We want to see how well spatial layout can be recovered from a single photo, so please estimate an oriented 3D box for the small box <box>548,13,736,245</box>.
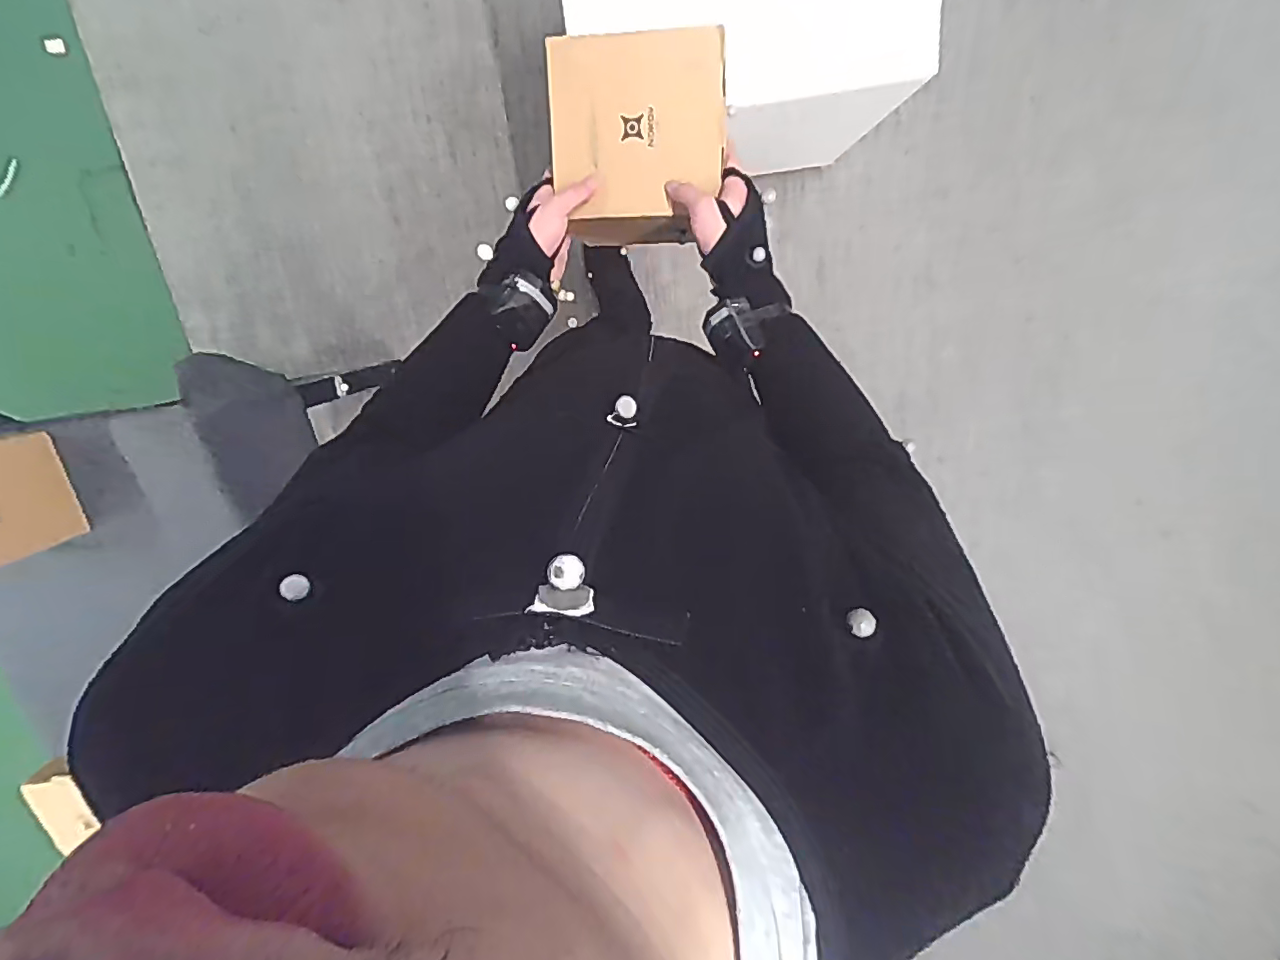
[{"bbox_3d":[0.008,-0.363,0.592,0.179,0.176,0.168,-1,103,5],"label":"small box"}]
